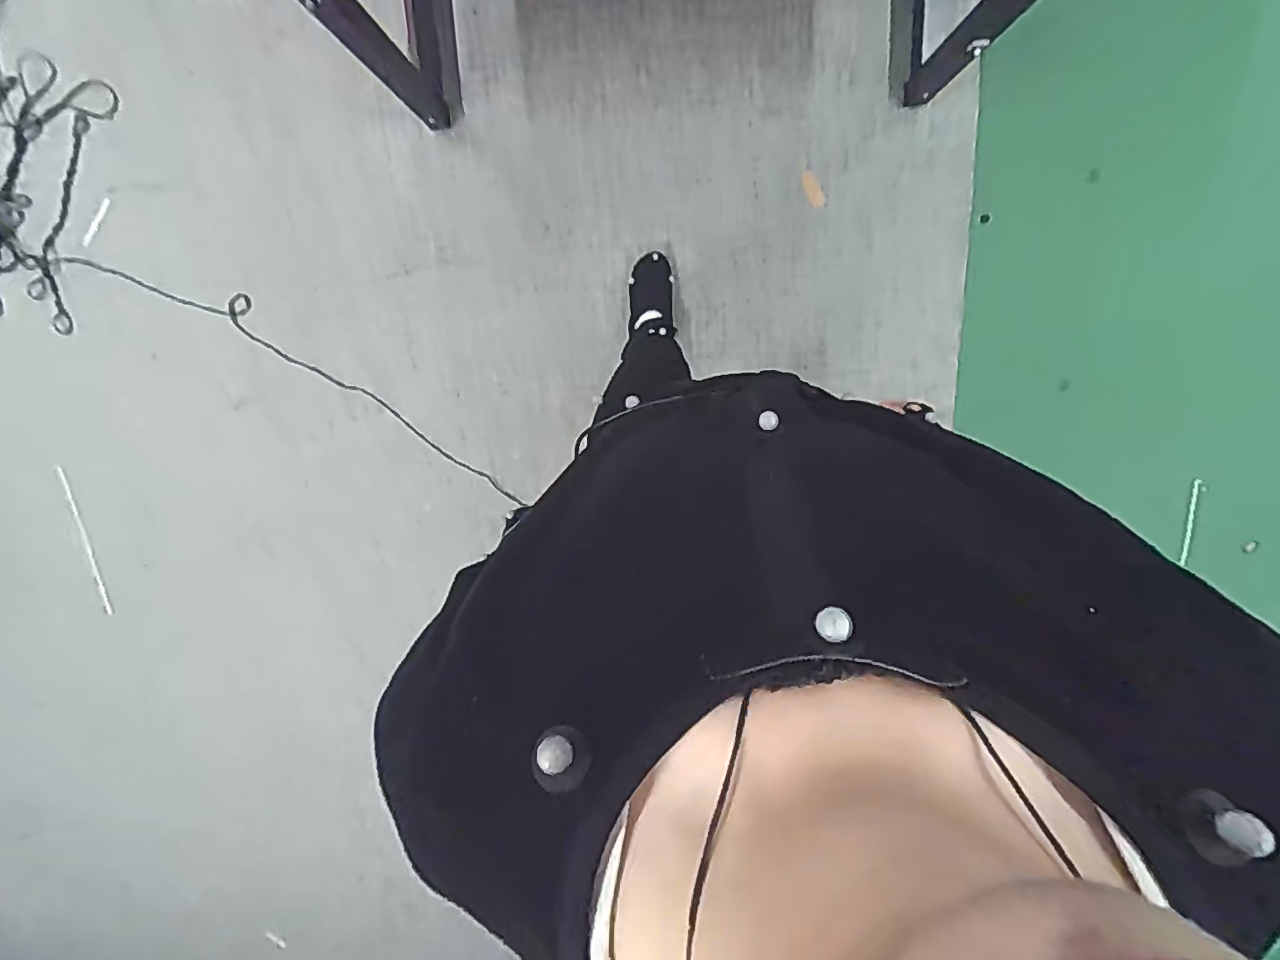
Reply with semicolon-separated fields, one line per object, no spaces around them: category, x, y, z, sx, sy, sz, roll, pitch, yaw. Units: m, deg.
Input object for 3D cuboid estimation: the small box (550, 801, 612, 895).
small box;-0.179;1.133;1.674;0.168;0.176;0.179;4;104;2
